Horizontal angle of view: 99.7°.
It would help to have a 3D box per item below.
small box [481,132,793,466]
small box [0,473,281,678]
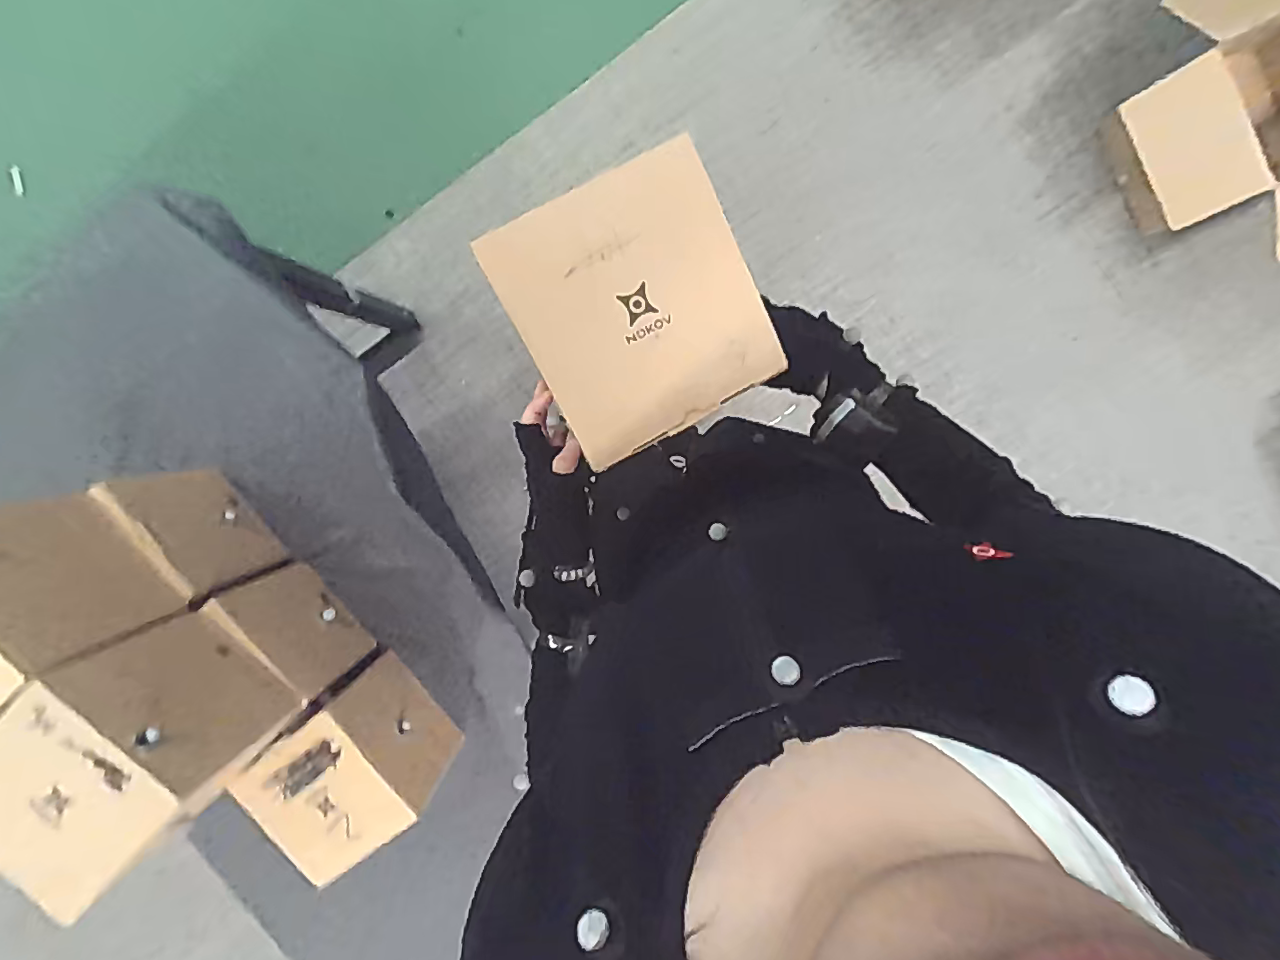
[{"bbox_3d":[-0.007,-0.135,0.448,0.168,0.176,0.179,-28,103,-4],"label":"small box"},{"bbox_3d":[-0.621,0.110,0.696,0.179,0.176,0.168,-37,96,5],"label":"small box"}]
